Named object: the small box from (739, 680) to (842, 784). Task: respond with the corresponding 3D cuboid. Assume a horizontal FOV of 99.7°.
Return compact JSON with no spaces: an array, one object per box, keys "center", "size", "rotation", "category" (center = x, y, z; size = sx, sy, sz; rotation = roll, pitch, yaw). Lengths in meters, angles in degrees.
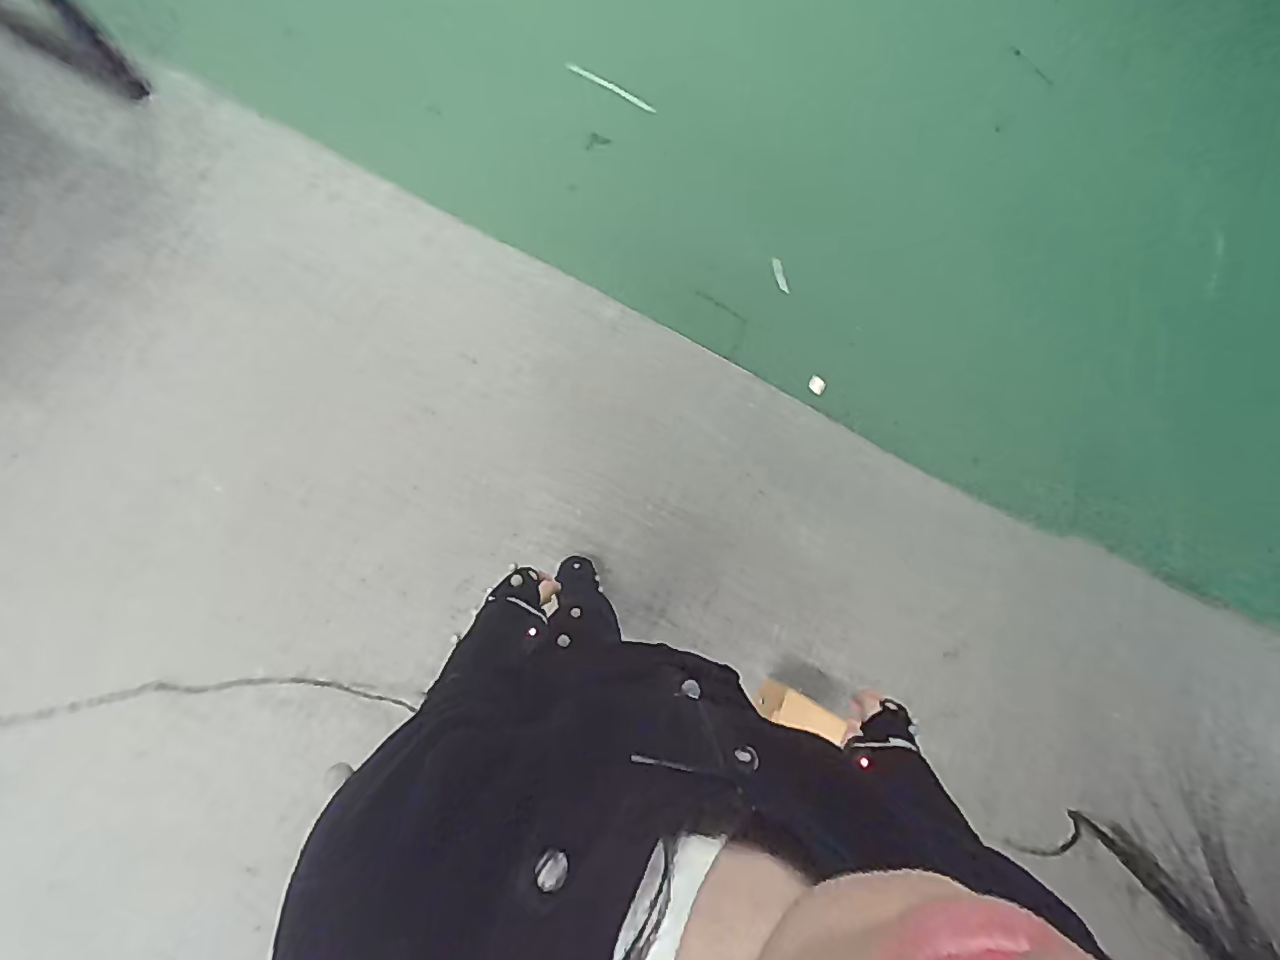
[{"center":[0.388,0.650,1.422],"size":[0.179,0.176,0.168],"rotation":[32,79,0],"category":"small box"}]
